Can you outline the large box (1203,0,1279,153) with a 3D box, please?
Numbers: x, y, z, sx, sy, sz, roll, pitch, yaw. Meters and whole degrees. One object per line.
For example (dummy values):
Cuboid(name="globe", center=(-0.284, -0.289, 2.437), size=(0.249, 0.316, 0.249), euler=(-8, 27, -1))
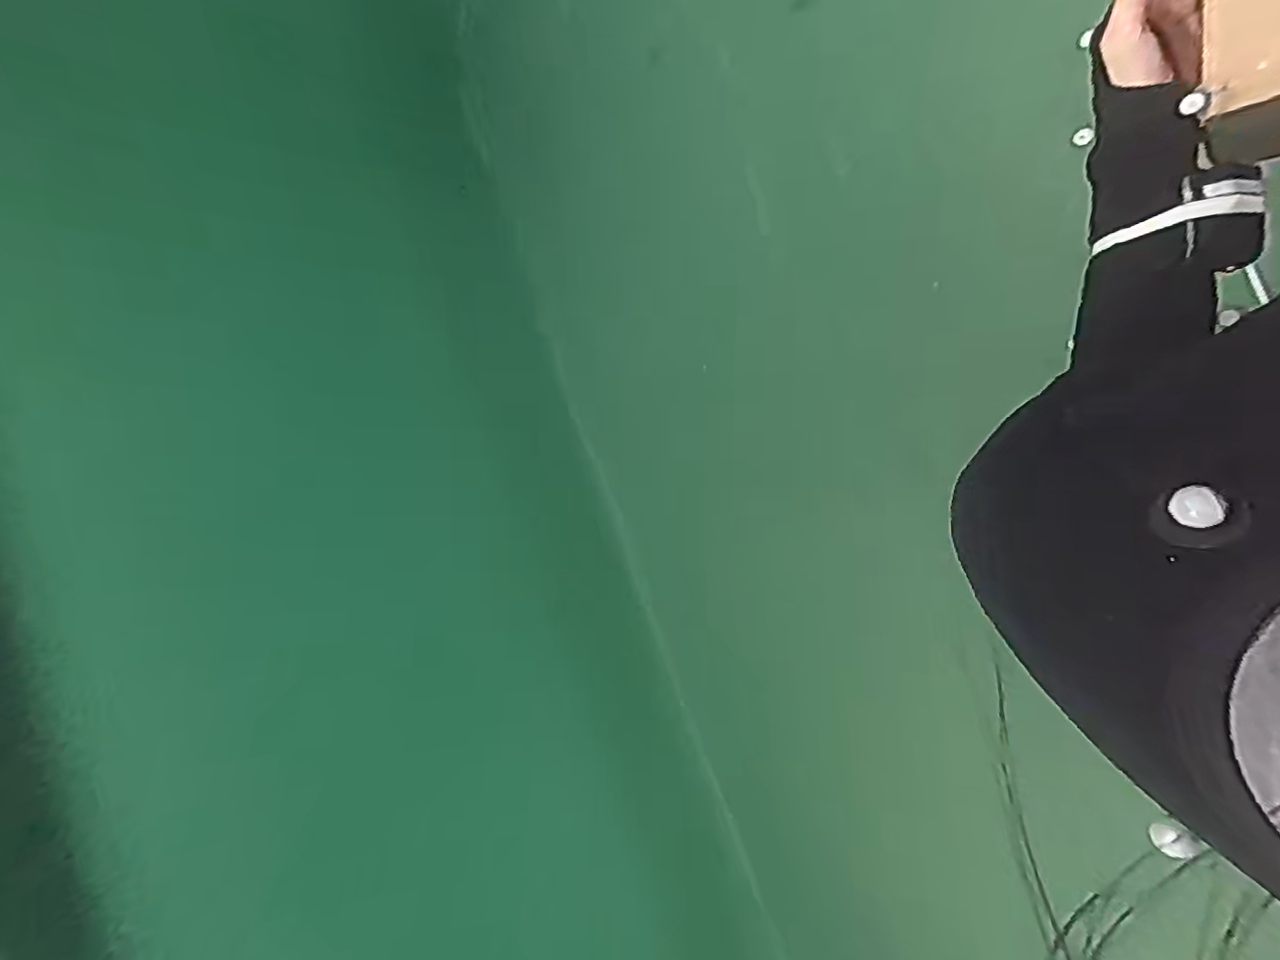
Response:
Cuboid(name="large box", center=(0.593, -0.427, 0.277), size=(0.408, 0.320, 0.320), euler=(3, 107, 49))
